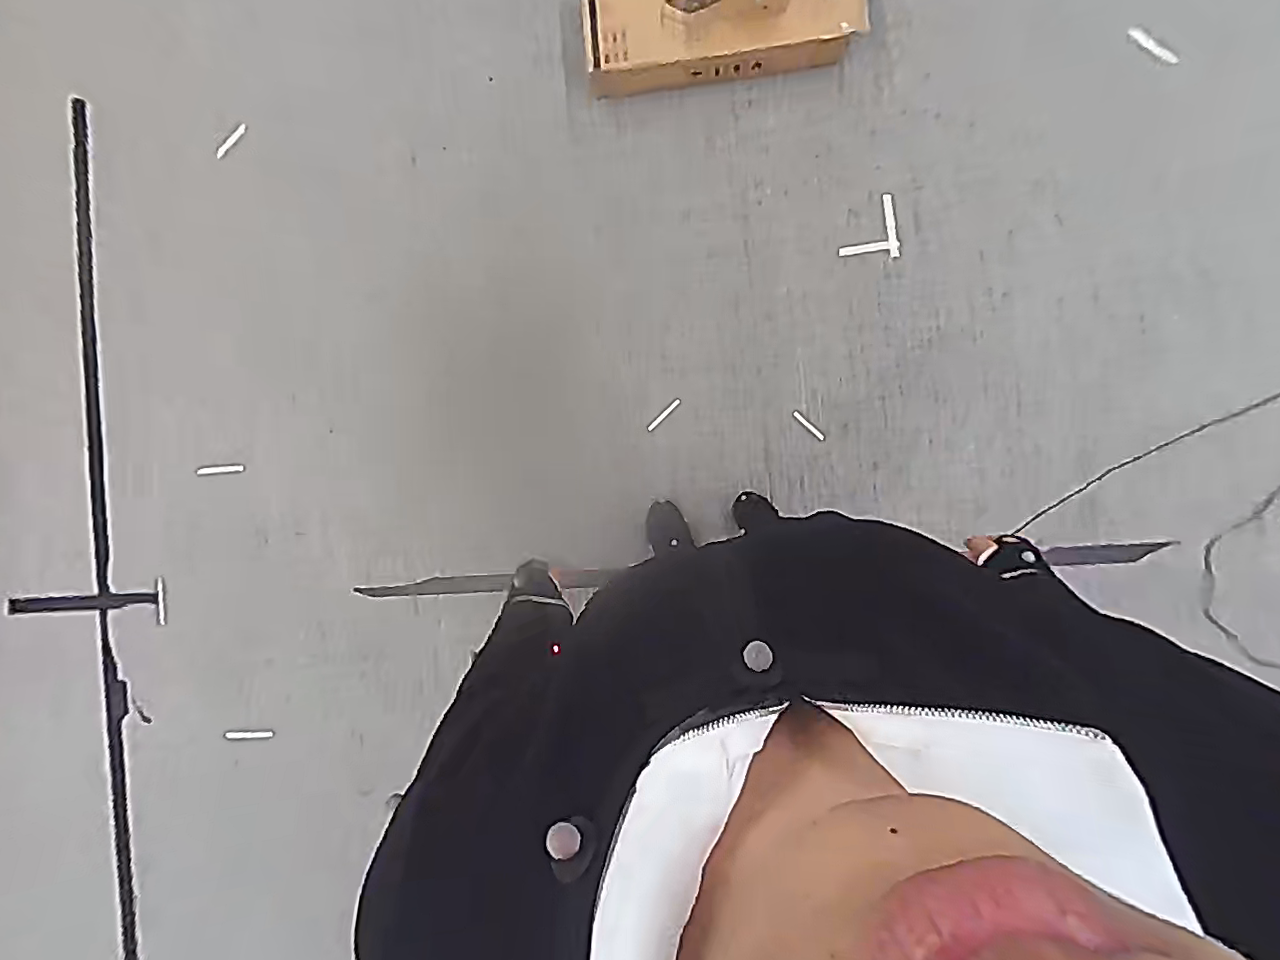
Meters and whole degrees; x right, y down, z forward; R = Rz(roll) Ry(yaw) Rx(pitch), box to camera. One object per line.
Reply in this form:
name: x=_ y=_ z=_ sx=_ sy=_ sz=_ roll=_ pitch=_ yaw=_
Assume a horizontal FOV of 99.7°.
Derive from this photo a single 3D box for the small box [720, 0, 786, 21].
small box: x=0.280 y=-1.297 z=1.333 sx=0.168 sy=0.176 sz=0.179 roll=-6 pitch=88 yaw=6
